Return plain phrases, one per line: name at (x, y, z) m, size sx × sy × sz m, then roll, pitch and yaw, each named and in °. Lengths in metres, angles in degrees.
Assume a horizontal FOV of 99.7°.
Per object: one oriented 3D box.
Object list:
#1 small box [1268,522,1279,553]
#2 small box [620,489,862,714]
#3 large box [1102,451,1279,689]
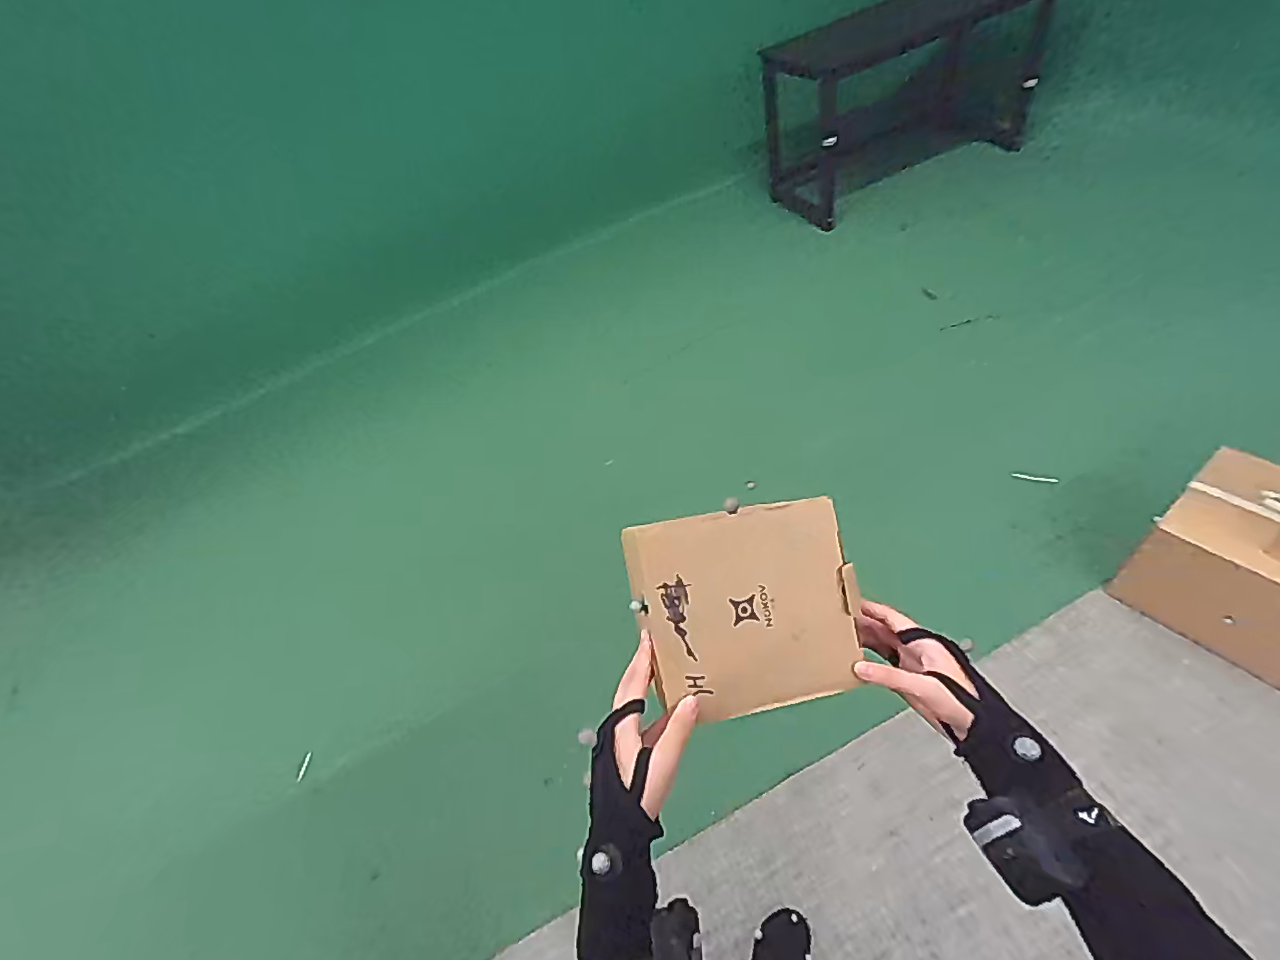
small box at (1.360, 0.083, 1.015) m, size 0.179 × 0.176 × 0.168 m, roll -38°, pitch 50°, yaw -15°
small box at (0.083, 0.105, 0.531) m, size 0.179 × 0.176 × 0.168 m, roll -8°, pitch 85°, yaw -7°
large box at (1.403, 0.210, 1.224) m, size 0.320 × 0.320 × 0.408 m, roll -37°, pitch 48°, yaw -16°
